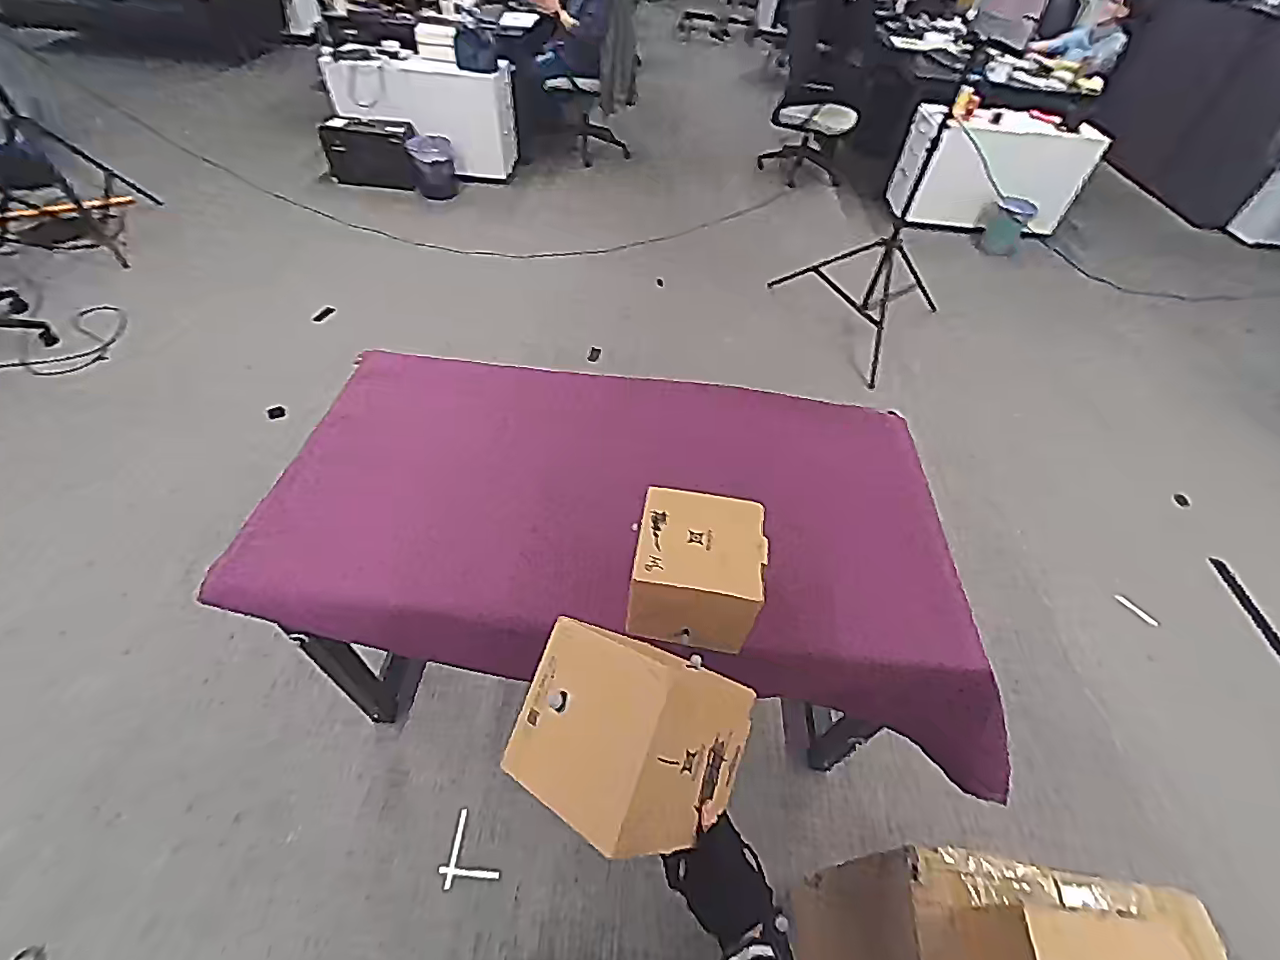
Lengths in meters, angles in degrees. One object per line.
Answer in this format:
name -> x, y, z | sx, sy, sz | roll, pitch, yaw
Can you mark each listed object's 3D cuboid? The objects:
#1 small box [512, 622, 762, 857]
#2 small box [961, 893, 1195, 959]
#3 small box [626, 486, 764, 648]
small box -> 0.000, 0.269, 0.584 | 0.176, 0.179, 0.168 | 9, 71, 43
small box -> 0.495, 0.583, 0.602 | 0.168, 0.176, 0.179 | 4, 50, 2
small box -> 0.081, 0.137, 0.821 | 0.179, 0.176, 0.168 | 10, 48, 3
